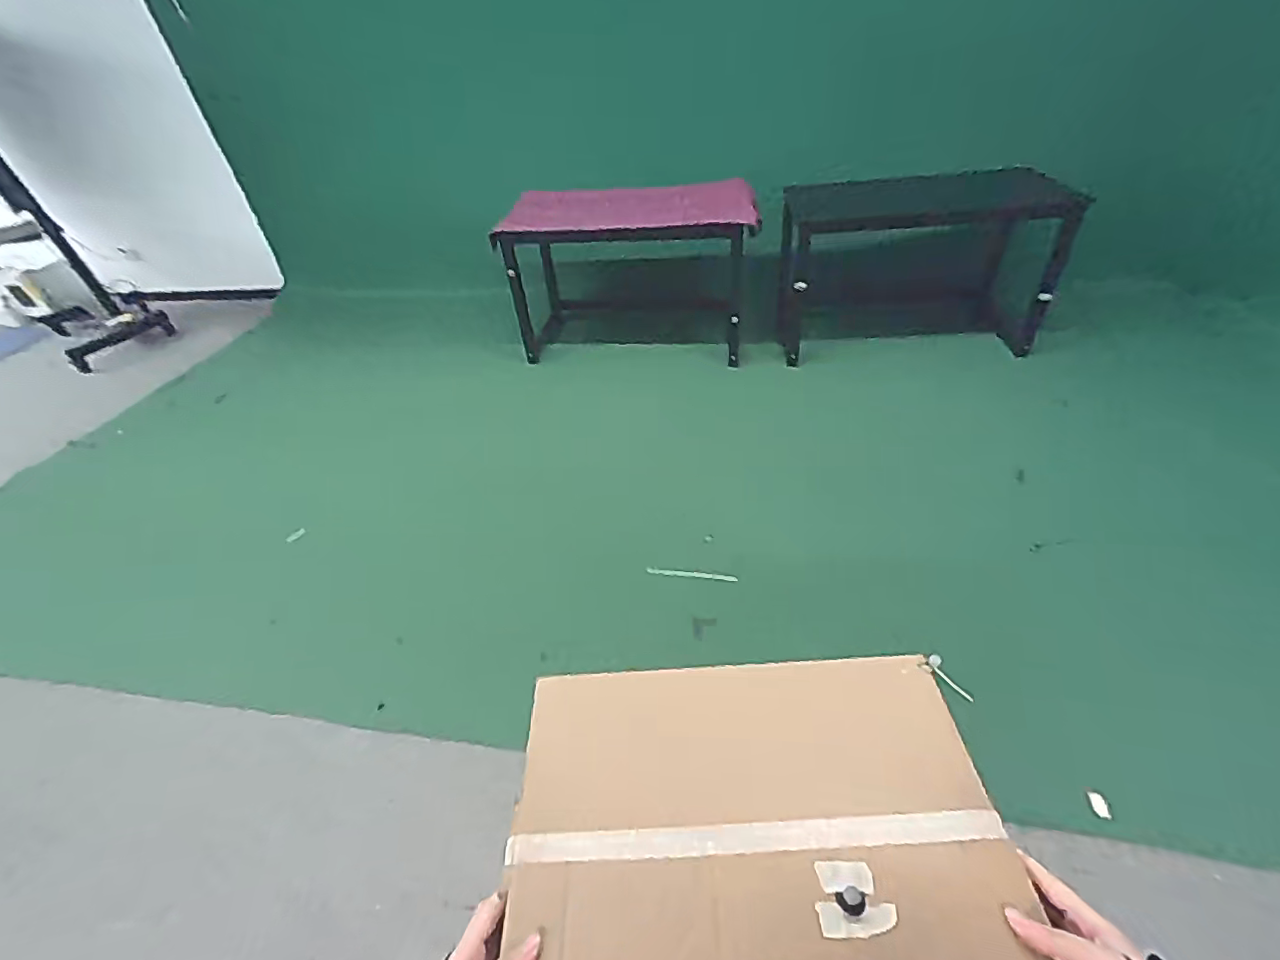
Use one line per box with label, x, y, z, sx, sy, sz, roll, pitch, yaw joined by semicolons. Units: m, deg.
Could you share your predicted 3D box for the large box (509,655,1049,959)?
large box;0.102;0.414;0.558;0.408;0.320;0.320;-4;41;1
